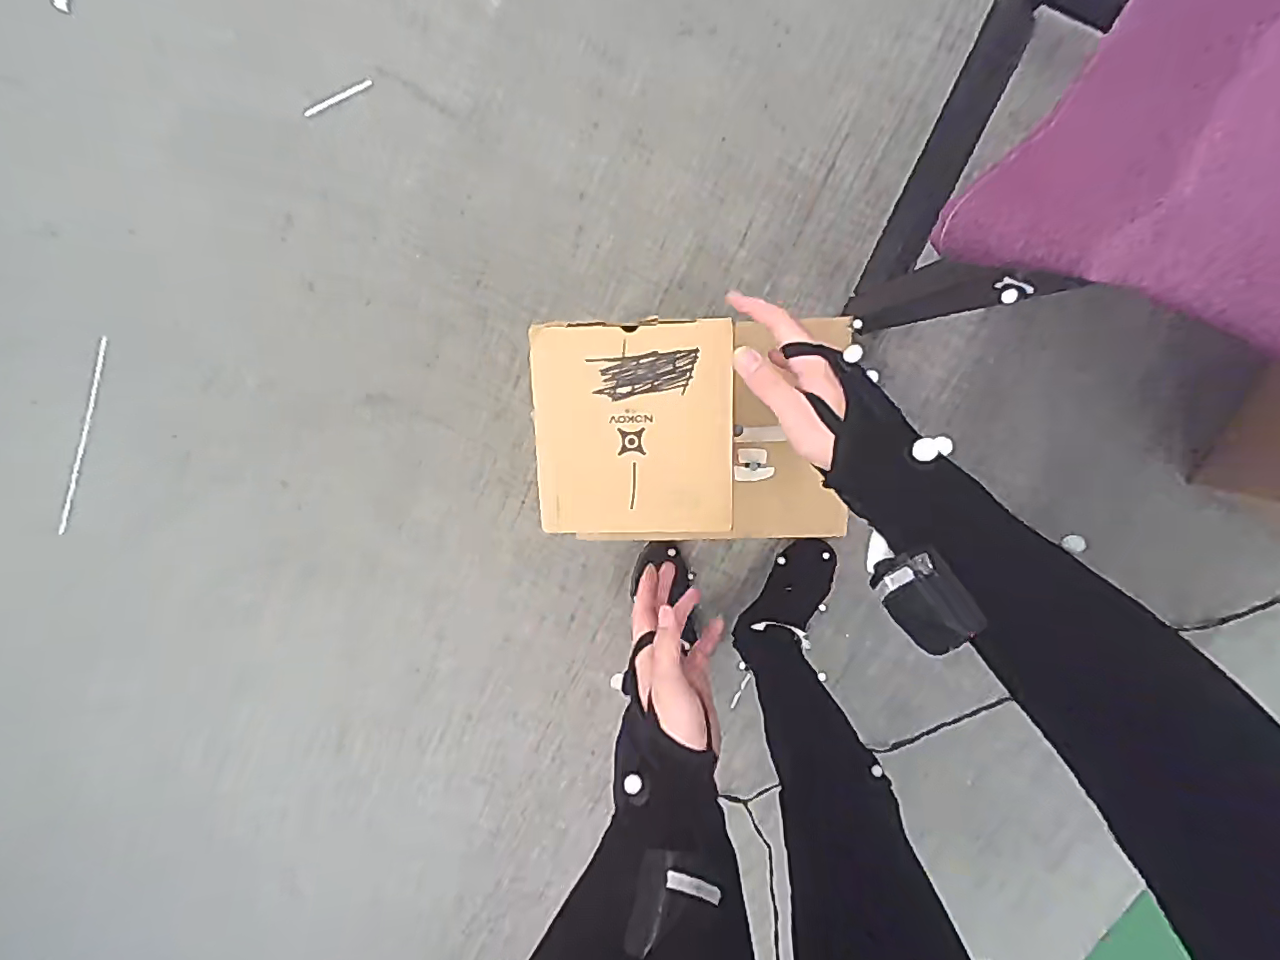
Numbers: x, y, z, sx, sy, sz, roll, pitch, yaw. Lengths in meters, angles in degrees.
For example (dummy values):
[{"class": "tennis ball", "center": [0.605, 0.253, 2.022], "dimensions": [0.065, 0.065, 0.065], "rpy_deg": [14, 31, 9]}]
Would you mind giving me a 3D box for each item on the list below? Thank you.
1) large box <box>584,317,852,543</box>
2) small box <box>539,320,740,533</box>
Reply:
[{"class": "large box", "center": [0.110, -0.089, 0.928], "dimensions": [0.408, 0.320, 0.320], "rpy_deg": [-2, 101, 4]}, {"class": "small box", "center": [0.004, -0.054, 0.525], "dimensions": [0.168, 0.176, 0.179], "rpy_deg": [0, 100, 5]}]
